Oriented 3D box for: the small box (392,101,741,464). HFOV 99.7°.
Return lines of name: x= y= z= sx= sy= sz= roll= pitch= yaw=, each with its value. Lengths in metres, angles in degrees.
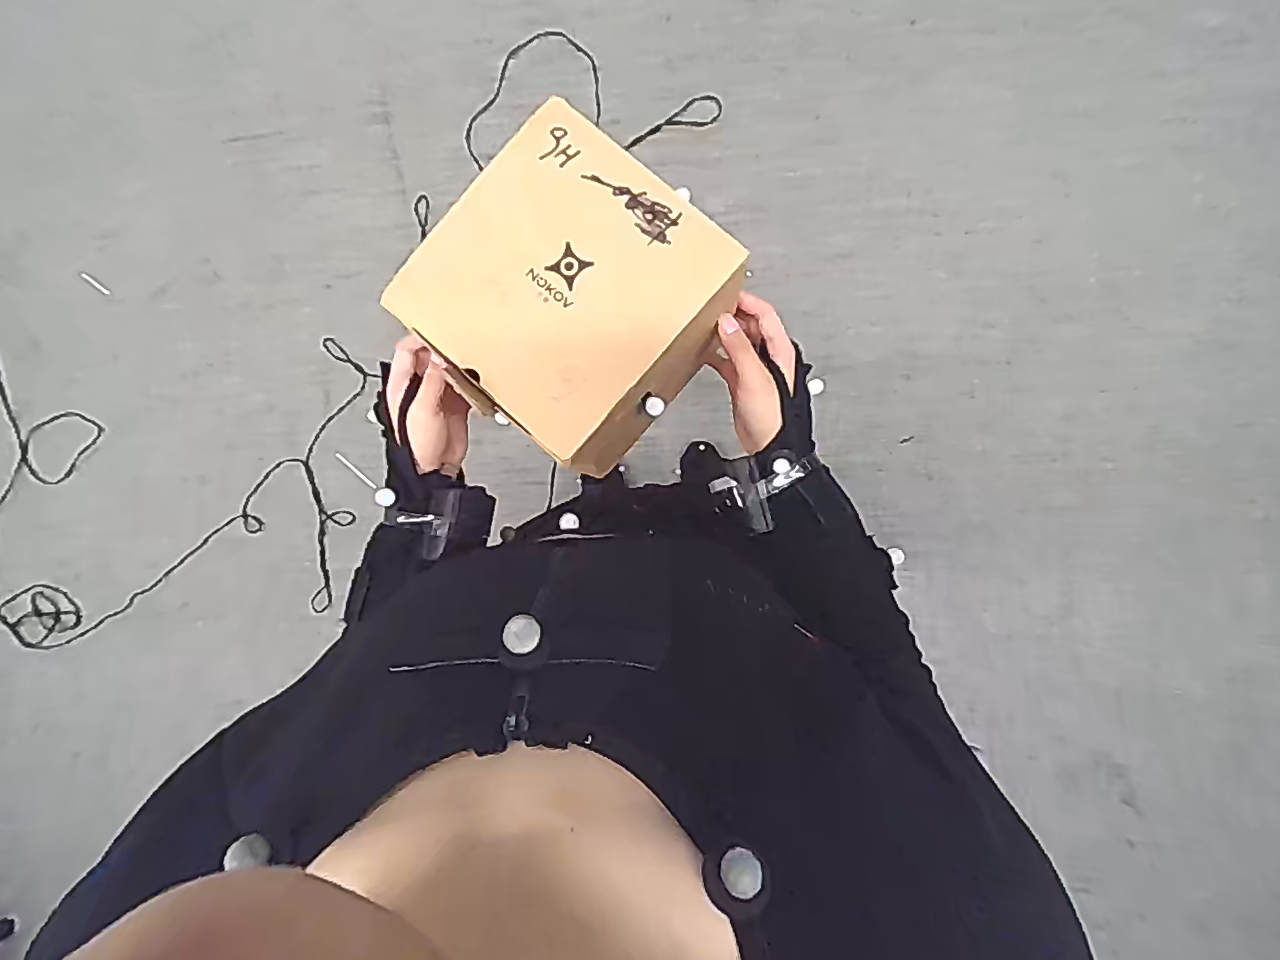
small box: x=-0.042 y=-0.127 z=0.426 sx=0.168 sy=0.176 sz=0.179 roll=41 pitch=92 yaw=5
